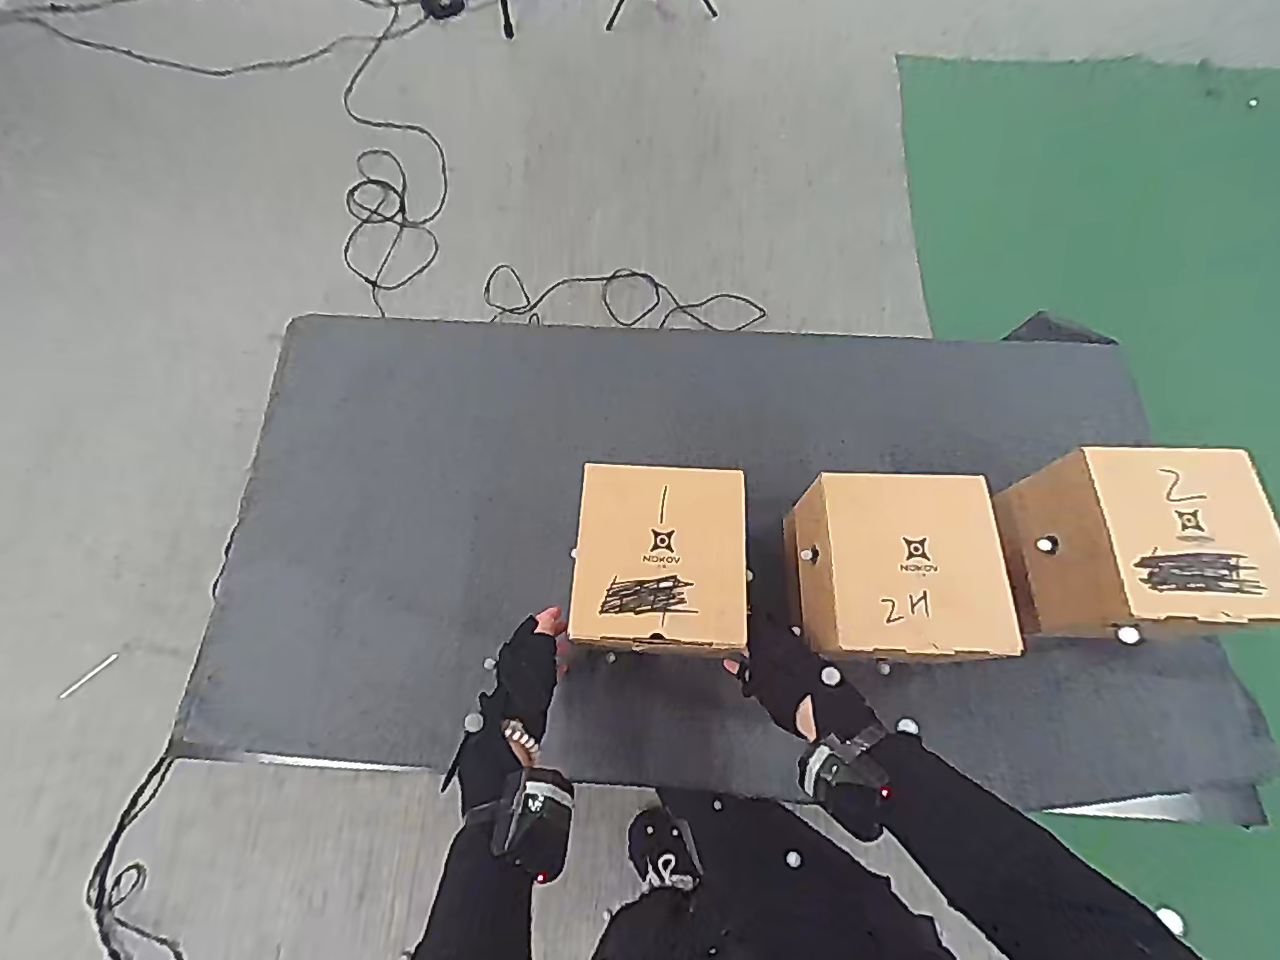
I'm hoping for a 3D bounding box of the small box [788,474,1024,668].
[{"bbox_3d":[0.266,0.106,0.590,0.168,0.176,0.179,1,69,1],"label":"small box"}]
